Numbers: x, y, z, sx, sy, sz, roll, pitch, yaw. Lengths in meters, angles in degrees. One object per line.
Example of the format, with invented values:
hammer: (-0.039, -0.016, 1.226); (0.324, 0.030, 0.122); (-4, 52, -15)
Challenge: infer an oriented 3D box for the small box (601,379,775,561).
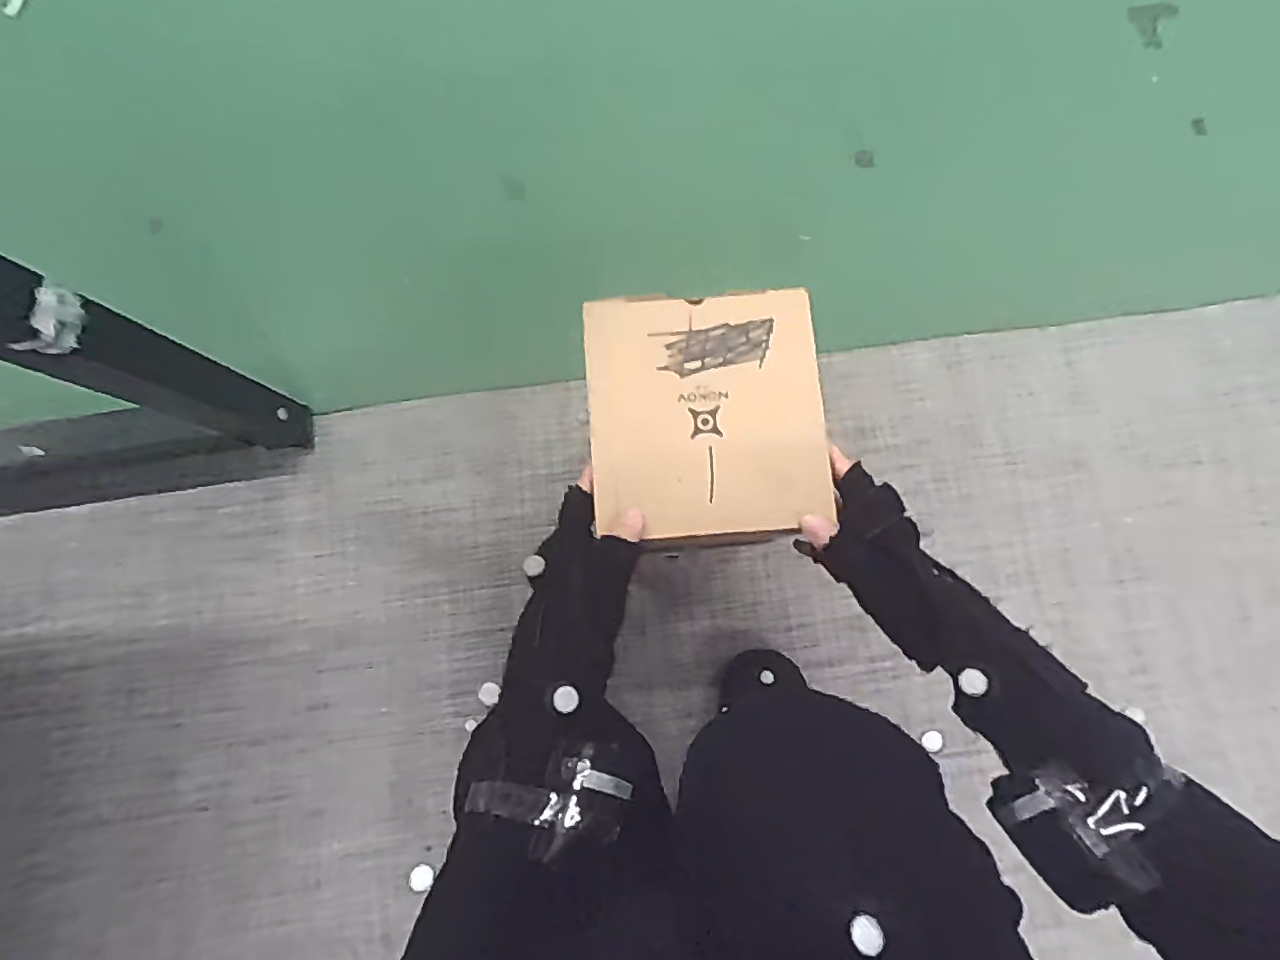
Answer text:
small box: (0.045, -0.001, 0.621); (0.168, 0.176, 0.179); (-5, 81, 0)
